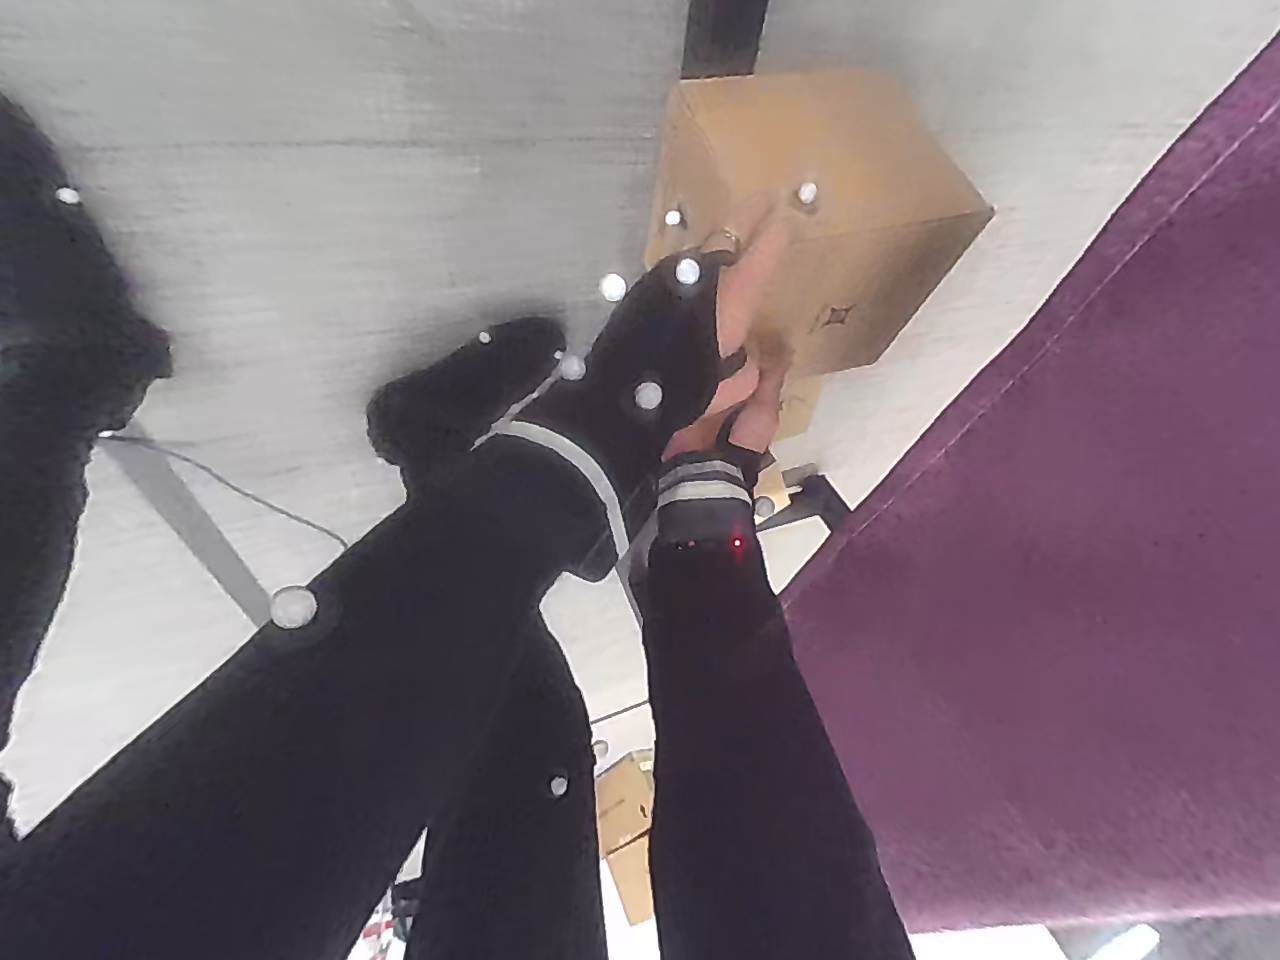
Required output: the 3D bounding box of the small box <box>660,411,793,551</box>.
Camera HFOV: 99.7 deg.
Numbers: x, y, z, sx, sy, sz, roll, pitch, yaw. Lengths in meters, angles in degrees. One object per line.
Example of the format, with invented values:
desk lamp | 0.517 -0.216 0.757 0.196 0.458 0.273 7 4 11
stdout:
small box | 0.165 0.001 1.039 0.179 0.176 0.168 -31 142 5
